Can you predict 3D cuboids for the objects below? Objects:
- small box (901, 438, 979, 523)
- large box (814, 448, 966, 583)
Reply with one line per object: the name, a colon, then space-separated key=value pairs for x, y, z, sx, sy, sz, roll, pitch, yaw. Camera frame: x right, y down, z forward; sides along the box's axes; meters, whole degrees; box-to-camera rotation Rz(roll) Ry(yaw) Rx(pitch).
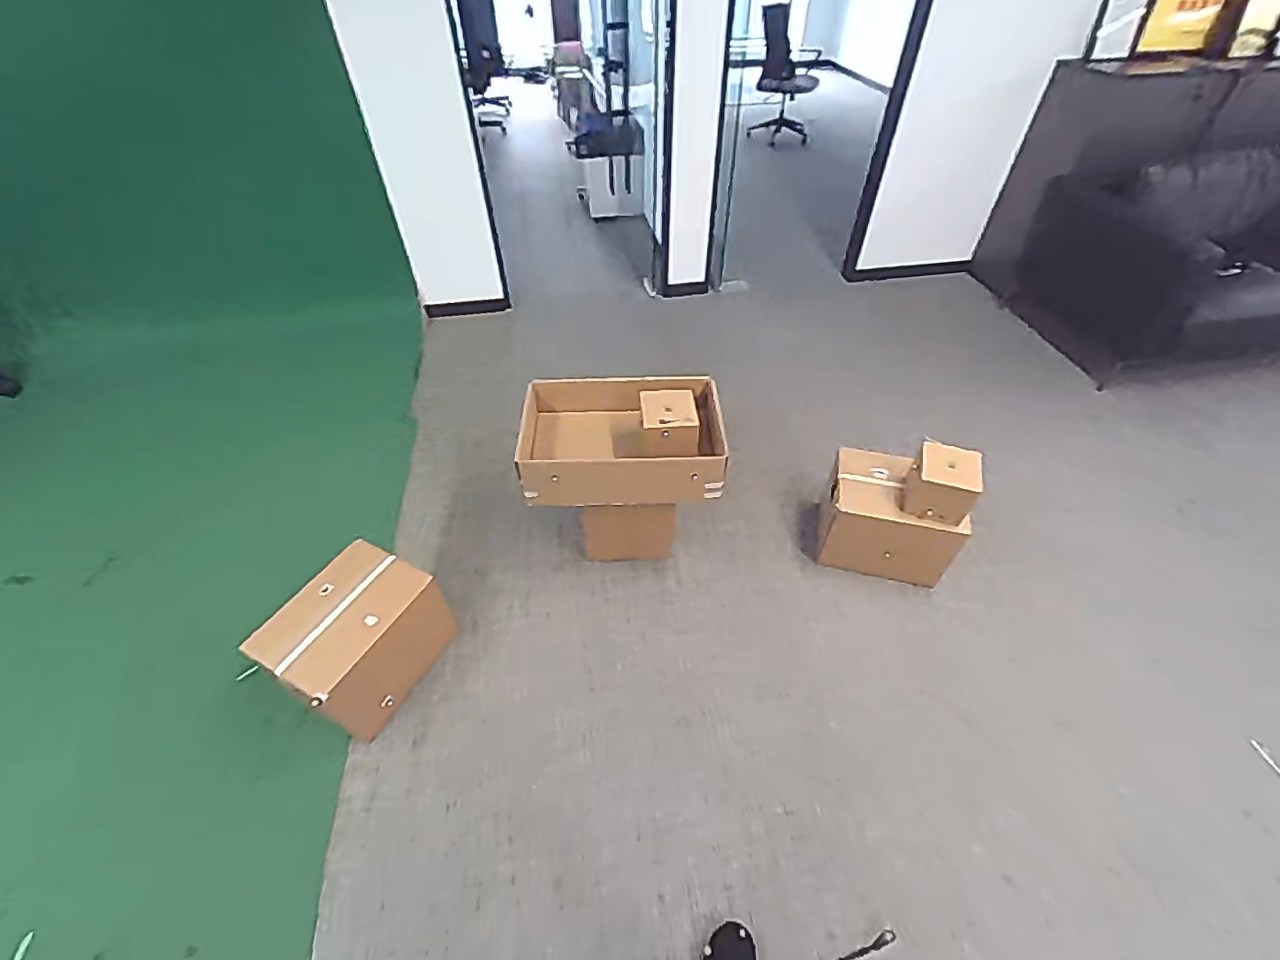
small box: x=0.930 y=0.003 z=1.685 sx=0.168 sy=0.176 sz=0.179 roll=15 pitch=51 yaw=15
large box: x=0.855 y=0.125 z=1.906 sx=0.408 sy=0.320 sz=0.320 roll=10 pitch=47 yaw=10
